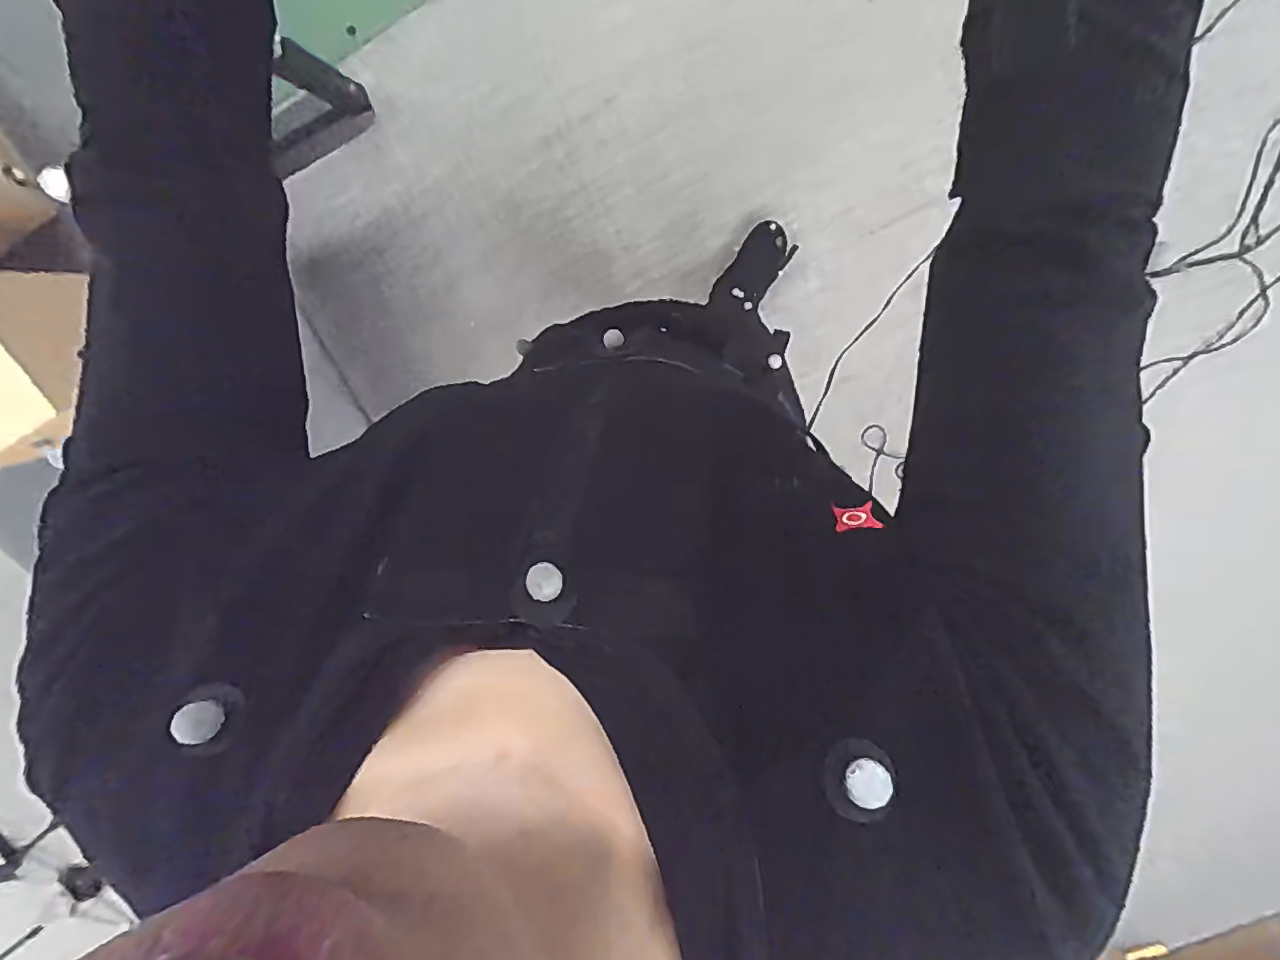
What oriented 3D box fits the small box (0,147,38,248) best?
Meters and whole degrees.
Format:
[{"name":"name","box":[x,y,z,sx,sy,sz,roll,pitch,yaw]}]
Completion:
[{"name":"small box","box":[-0.832,-0.339,0.581,0.179,0.176,0.168,-25,106,13]}]

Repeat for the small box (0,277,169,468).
[{"name":"small box","box":[-0.732,-0.132,0.650,0.179,0.176,0.168,-24,106,13]}]
